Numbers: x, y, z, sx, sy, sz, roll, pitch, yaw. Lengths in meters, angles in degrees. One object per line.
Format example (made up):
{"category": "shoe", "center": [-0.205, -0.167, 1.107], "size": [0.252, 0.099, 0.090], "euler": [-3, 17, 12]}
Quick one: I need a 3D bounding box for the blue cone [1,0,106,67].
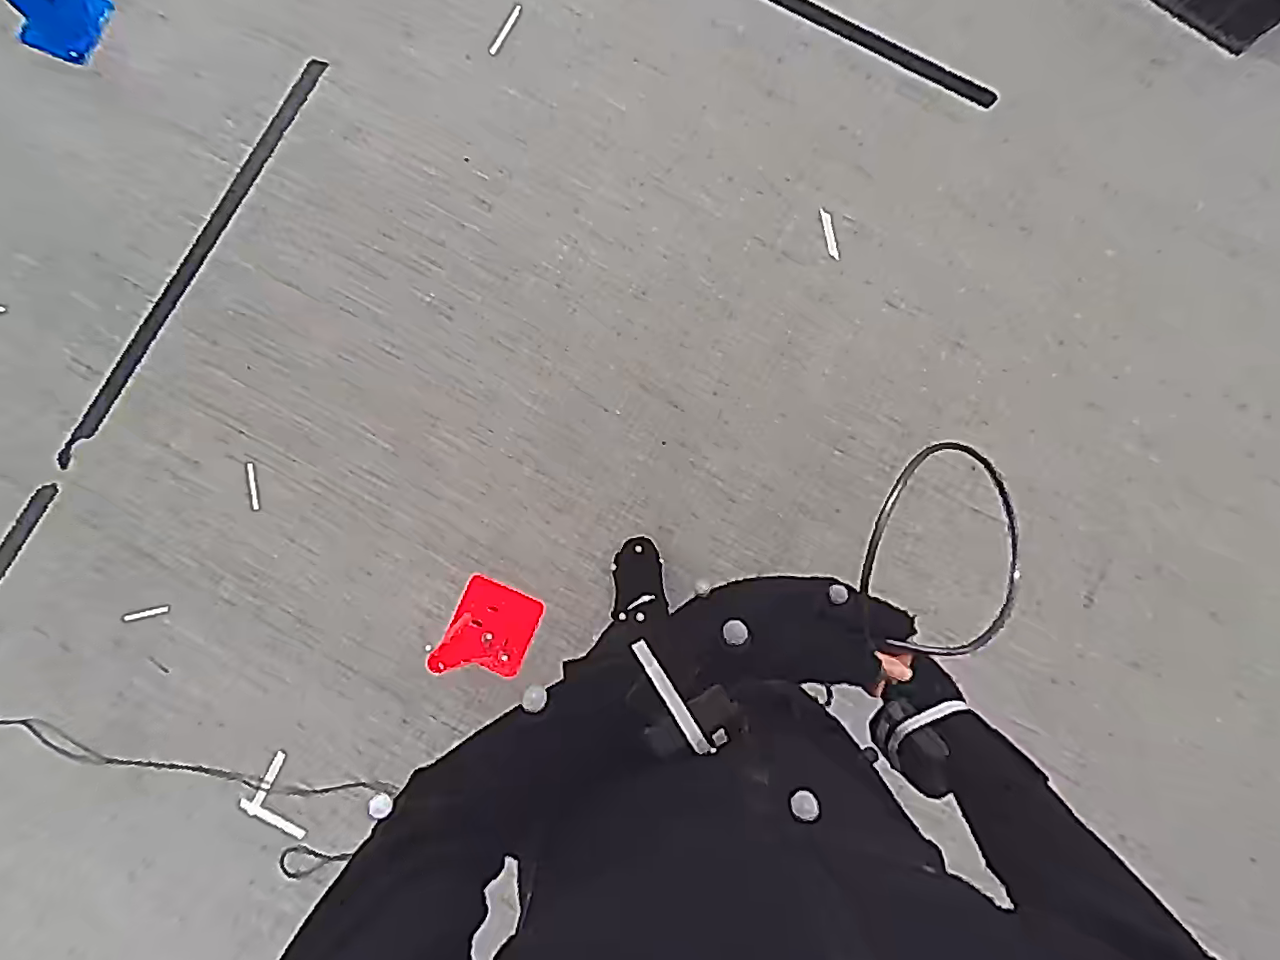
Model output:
{"category": "blue cone", "center": [-1.537, -1.217, 1.271], "size": [0.192, 0.380, 0.193], "euler": [23, 86, 2]}

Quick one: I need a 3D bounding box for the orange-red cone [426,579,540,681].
{"category": "orange-red cone", "center": [-0.361, 0.342, 1.126], "size": [0.198, 0.360, 0.199], "euler": [24, 85, 2]}
